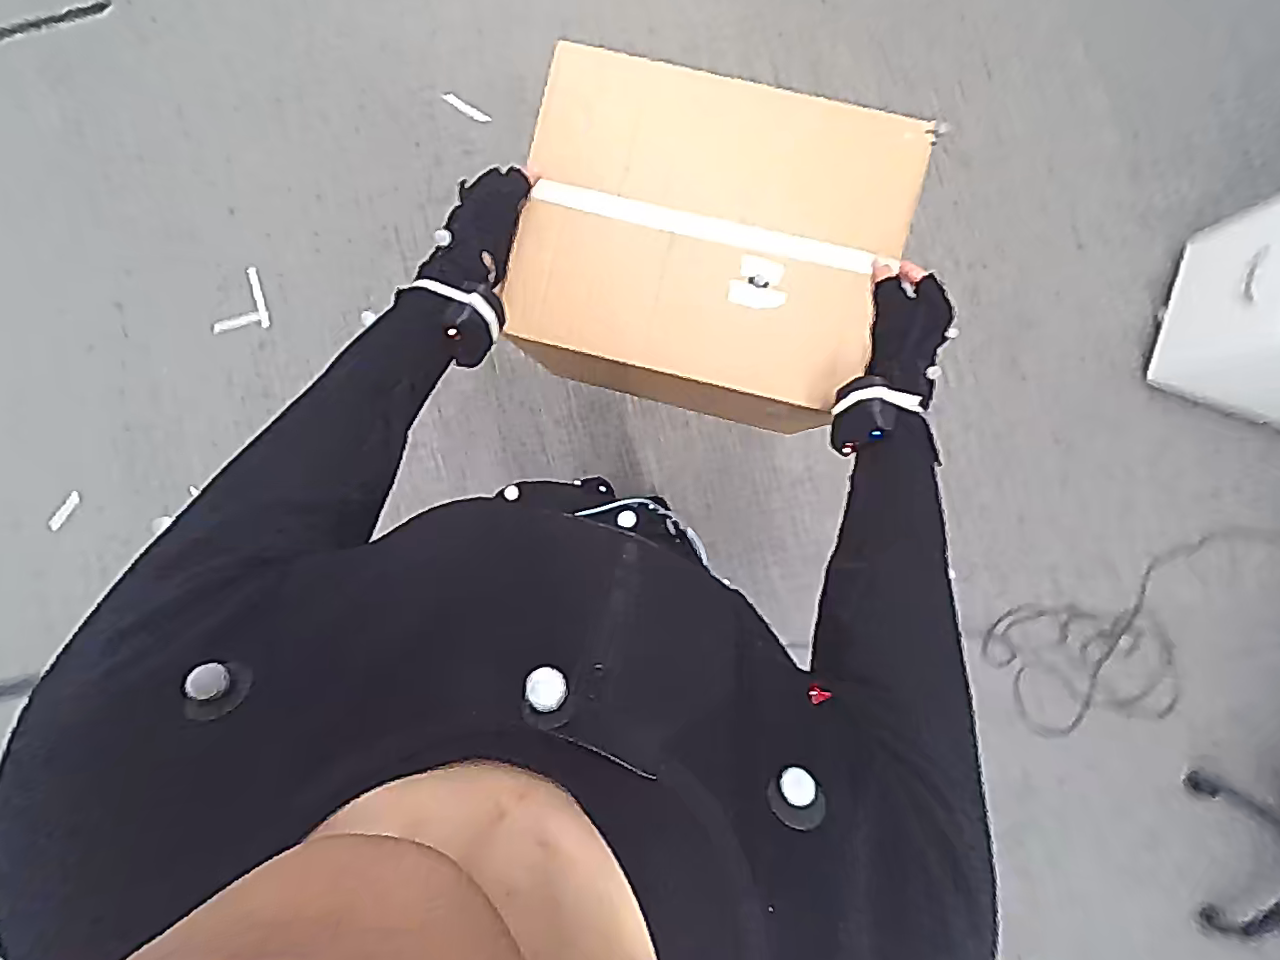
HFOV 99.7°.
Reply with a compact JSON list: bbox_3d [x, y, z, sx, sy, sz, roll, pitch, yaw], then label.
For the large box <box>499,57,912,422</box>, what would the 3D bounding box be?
[{"bbox_3d":[0.070,-0.276,0.732,0.408,0.320,0.320,12,93,2],"label":"large box"}]
